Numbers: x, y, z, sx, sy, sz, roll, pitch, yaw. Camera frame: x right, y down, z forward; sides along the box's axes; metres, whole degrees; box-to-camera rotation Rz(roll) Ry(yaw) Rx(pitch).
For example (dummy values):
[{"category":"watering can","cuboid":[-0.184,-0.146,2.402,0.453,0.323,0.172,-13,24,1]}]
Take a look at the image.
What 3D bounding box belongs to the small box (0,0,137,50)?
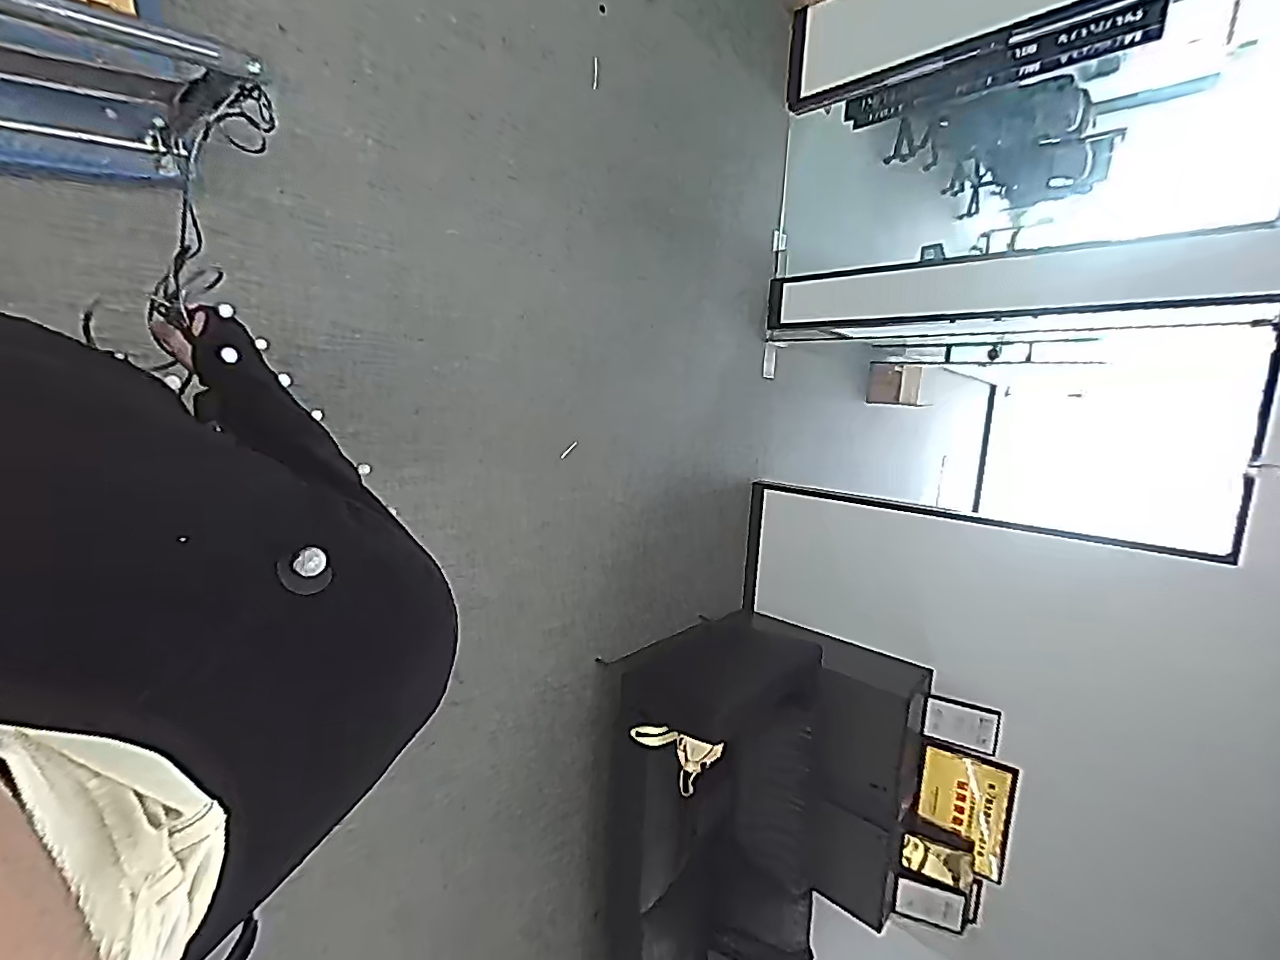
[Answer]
[{"category":"small box","cuboid":[-0.957,-0.855,0.878,0.168,0.176,0.179,-17,111,-45]}]
